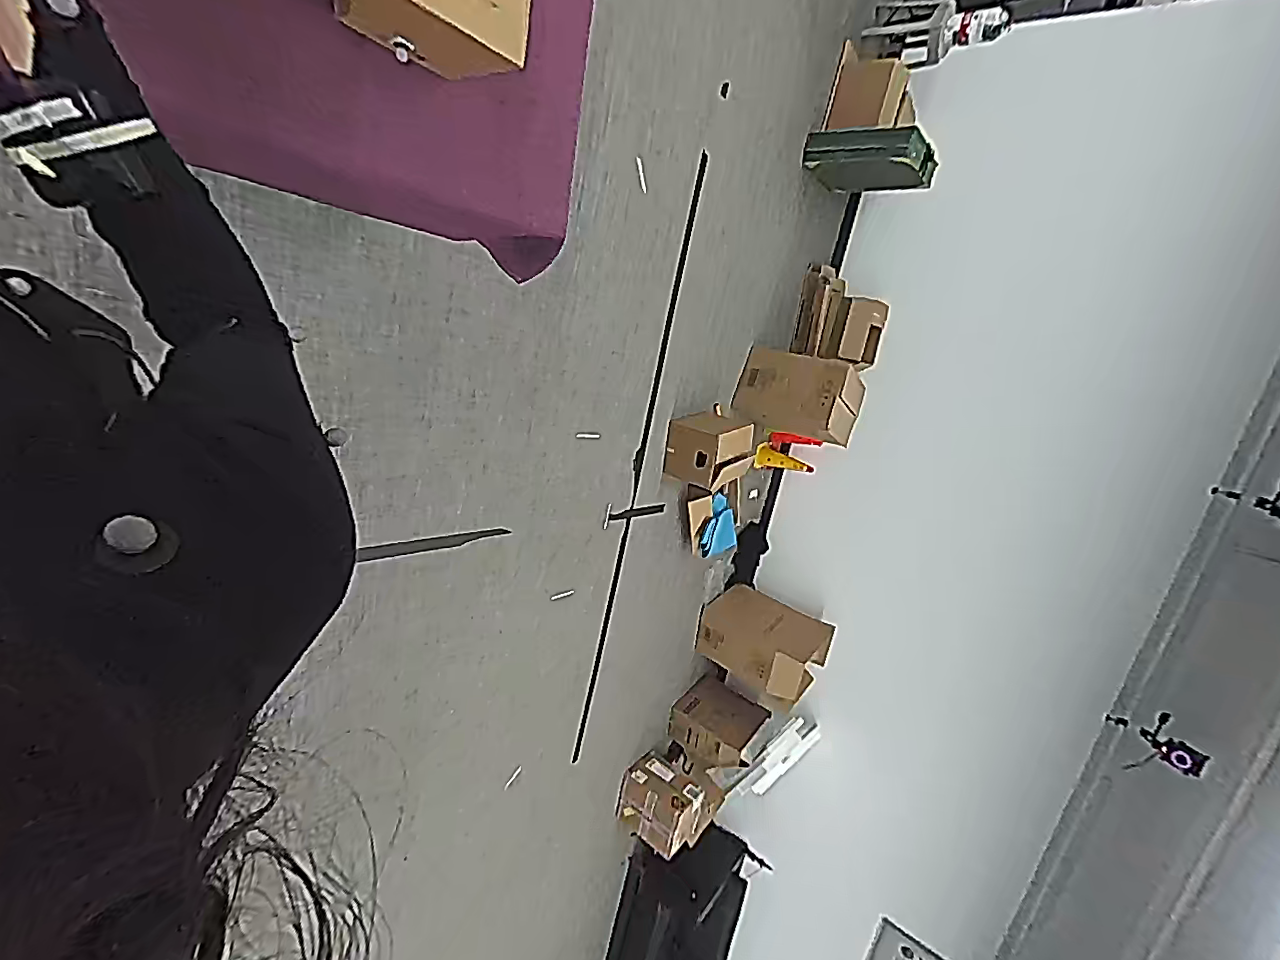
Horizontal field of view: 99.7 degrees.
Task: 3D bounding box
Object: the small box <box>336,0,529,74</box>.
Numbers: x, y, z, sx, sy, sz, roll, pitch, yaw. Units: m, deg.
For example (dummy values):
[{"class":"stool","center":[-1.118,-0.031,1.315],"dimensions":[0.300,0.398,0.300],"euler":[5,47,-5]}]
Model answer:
[{"class":"small box","center":[-0.250,-0.632,0.656],"dimensions":[0.168,0.176,0.179],"euler":[-12,118,-52]}]
